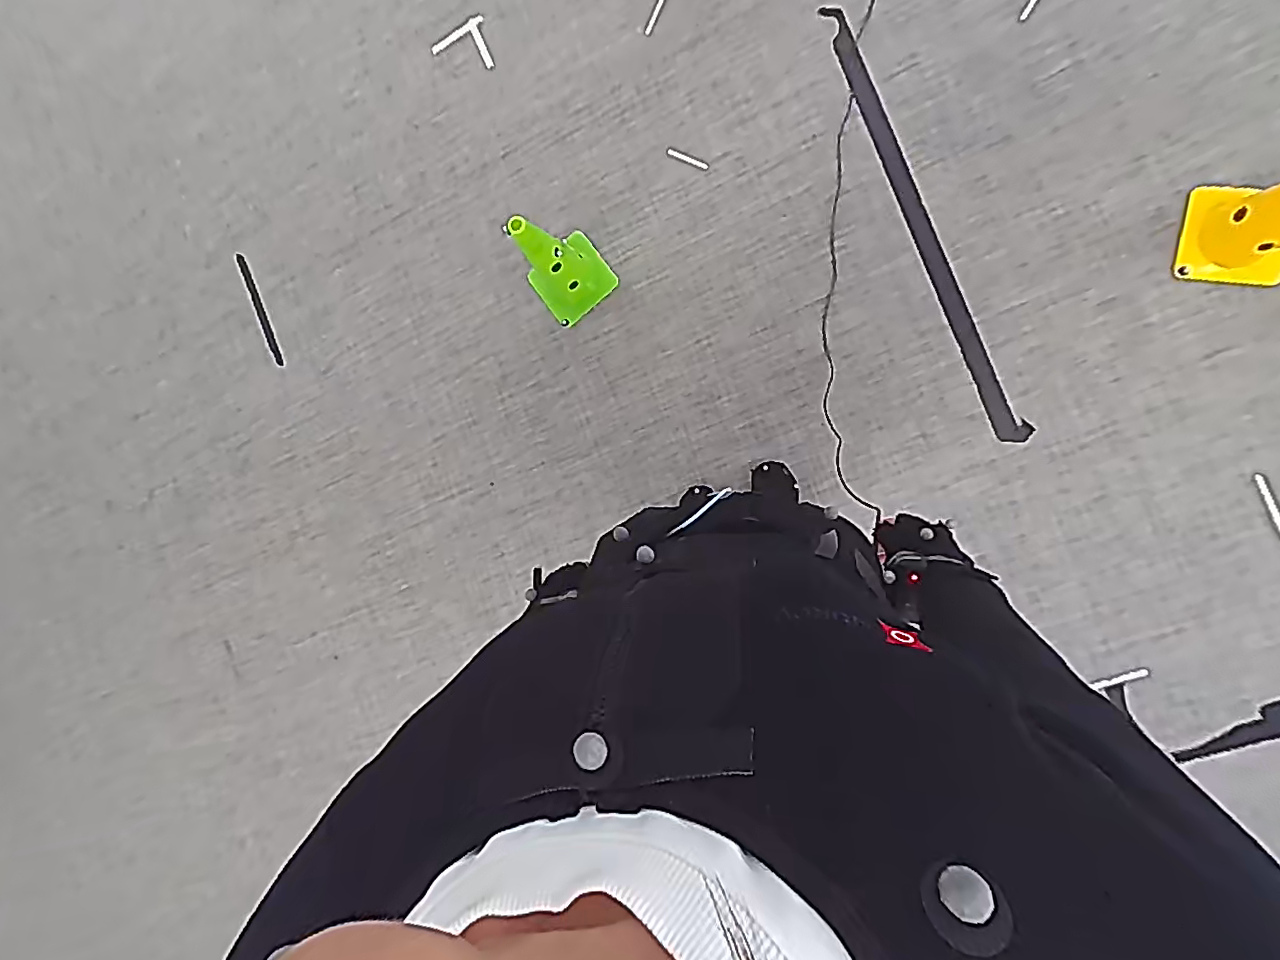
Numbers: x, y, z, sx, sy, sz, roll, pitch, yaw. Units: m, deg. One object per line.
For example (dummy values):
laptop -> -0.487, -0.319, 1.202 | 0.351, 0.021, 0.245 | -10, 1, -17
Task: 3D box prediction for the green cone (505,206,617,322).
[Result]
green cone -> -0.224, -0.560, 1.316 | 0.200, 0.368, 0.202 | -38, 82, 10
